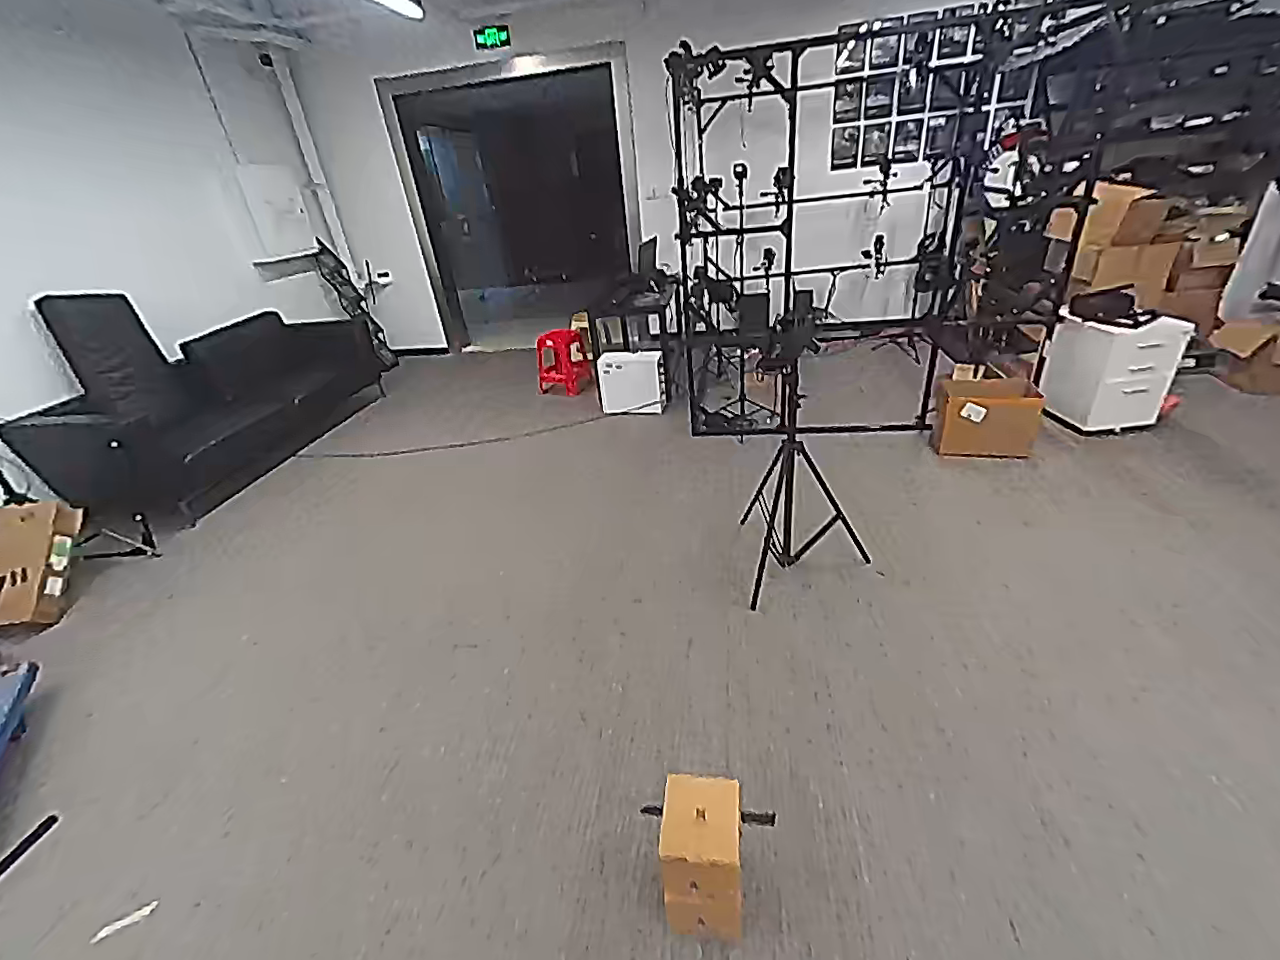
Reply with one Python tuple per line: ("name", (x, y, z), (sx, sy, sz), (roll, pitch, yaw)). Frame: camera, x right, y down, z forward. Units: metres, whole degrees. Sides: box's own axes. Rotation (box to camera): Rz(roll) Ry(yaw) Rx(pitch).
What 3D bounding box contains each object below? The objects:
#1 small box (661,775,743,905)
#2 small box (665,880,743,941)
("small box", (0.142, 0.792, 1.197), (0.168, 0.176, 0.179), (-1, 30, 11))
("small box", (0.154, 0.938, 1.268), (0.168, 0.176, 0.179), (-2, 29, 9))
